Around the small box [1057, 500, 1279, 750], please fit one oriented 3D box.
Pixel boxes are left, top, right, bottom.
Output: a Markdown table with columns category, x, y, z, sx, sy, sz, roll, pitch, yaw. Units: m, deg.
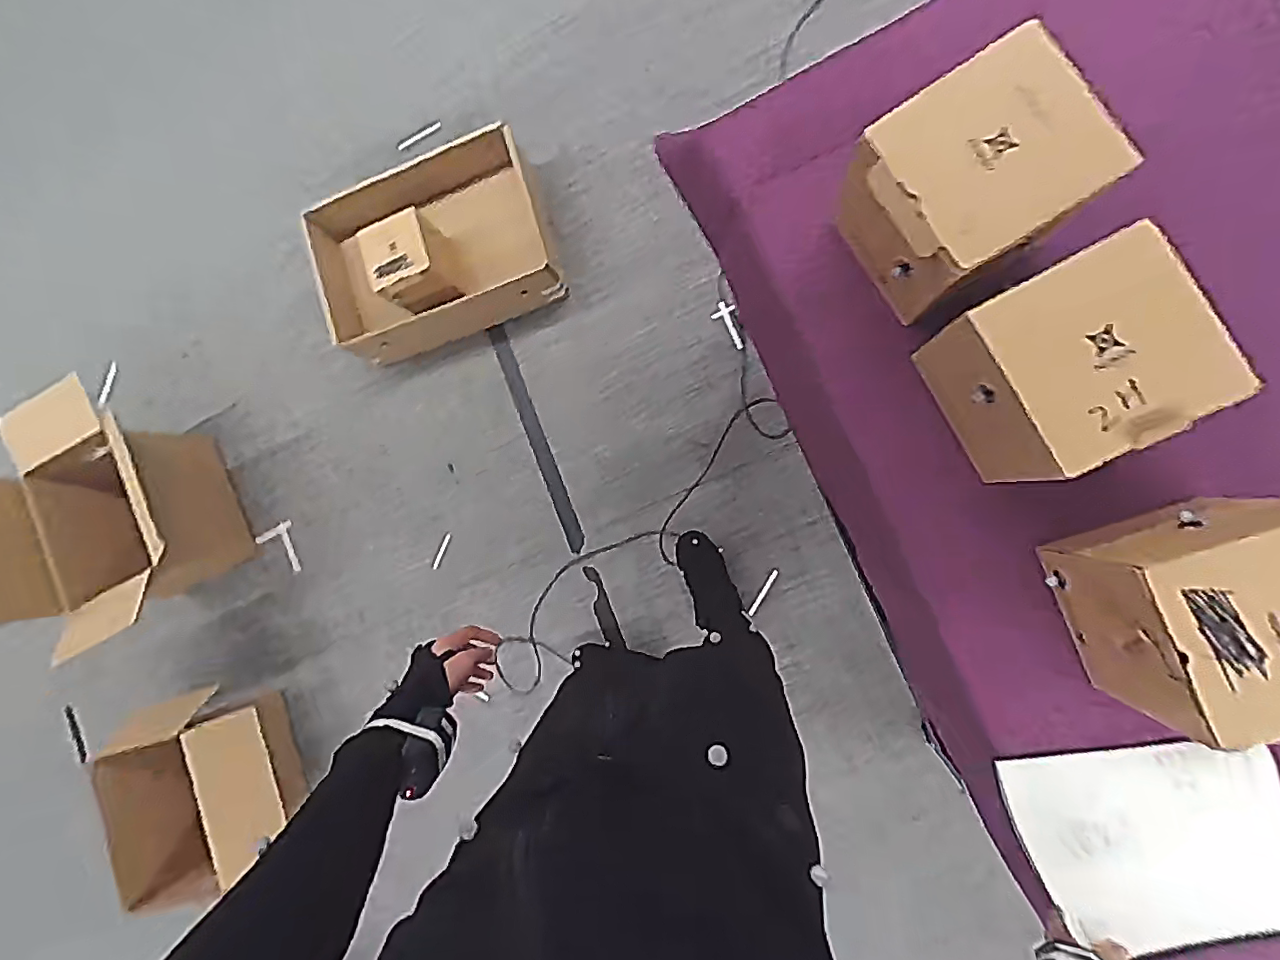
| category | x | y | z | sx | sy | sz | roll | pitch | yaw |
| --- | --- | --- | --- | --- | --- | --- | --- | --- | --- |
| small box | 0.548 | 0.122 | 0.517 | 0.179 | 0.176 | 0.168 | -20 | 85 | 9 |

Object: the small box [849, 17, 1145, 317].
| category | x | y | z | sx | sy | sz | roll | pitch | yaw |
| --- | --- | --- | --- | --- | --- | --- | --- | --- | --- |
| small box | 0.340 | -0.300 | 0.566 | 0.179 | 0.176 | 0.168 | -31 | 85 | 8 |
